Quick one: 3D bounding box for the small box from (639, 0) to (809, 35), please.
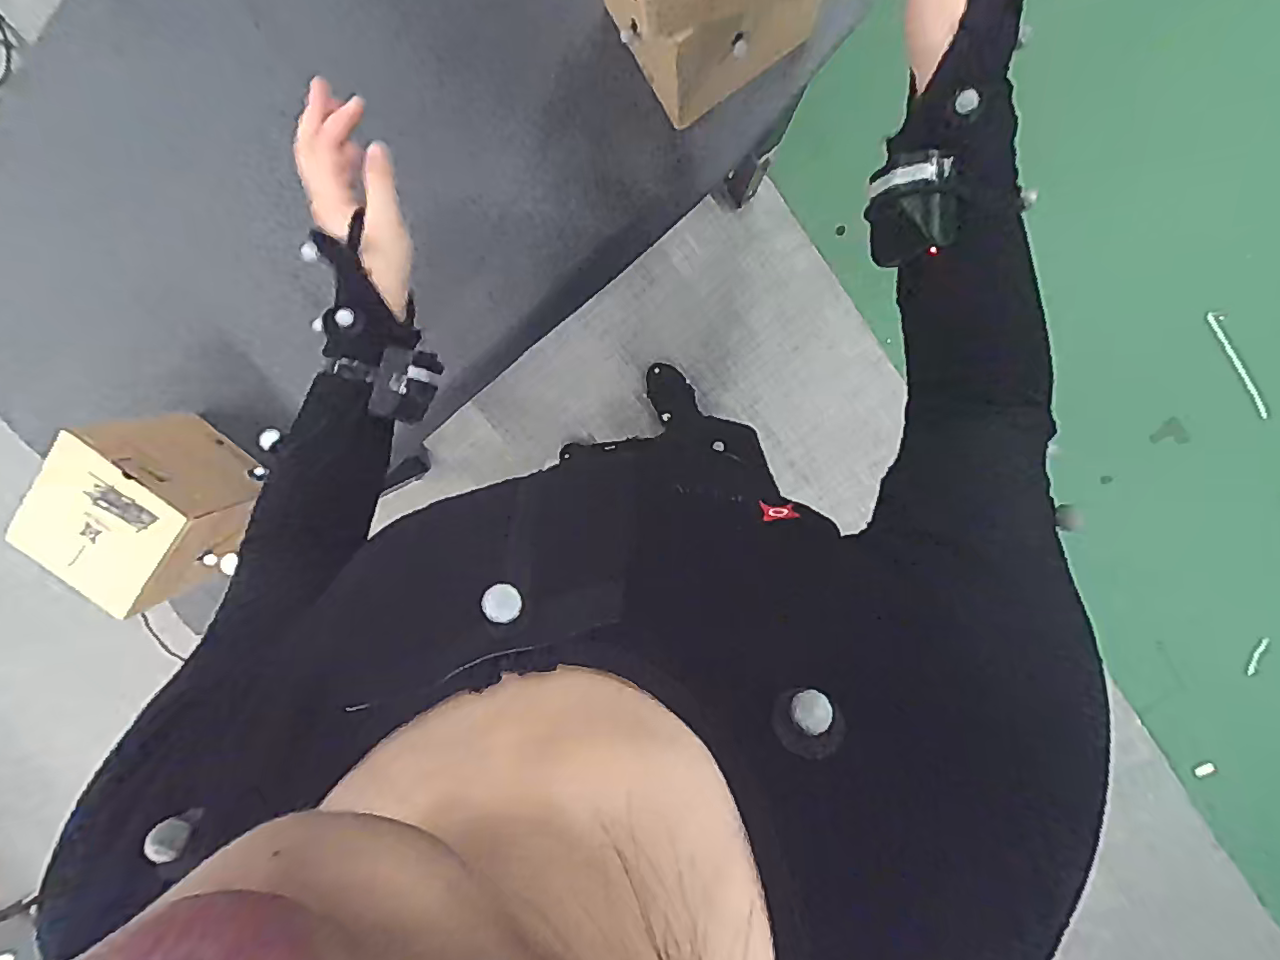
[{"bbox_3d":[0.068,-0.461,0.374,0.179,0.176,0.168,-10,99,6],"label":"small box"}]

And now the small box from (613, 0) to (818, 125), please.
[{"bbox_3d":[0.070,-0.502,0.534,0.179,0.176,0.168,-31,96,11],"label":"small box"}]

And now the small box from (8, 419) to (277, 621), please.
[{"bbox_3d":[-0.624,0.039,0.705,0.168,0.176,0.179,40,103,-7],"label":"small box"}]
